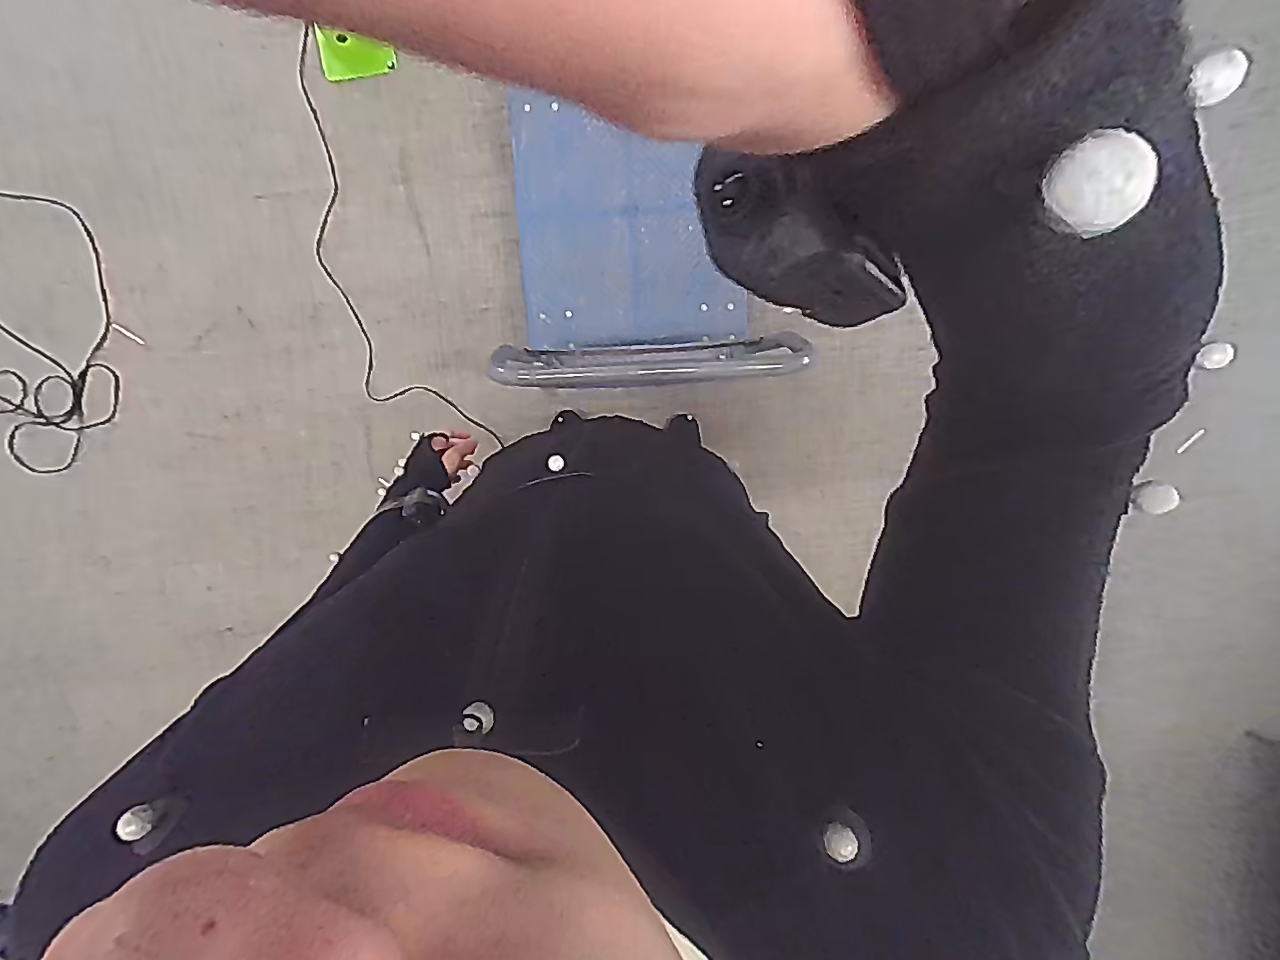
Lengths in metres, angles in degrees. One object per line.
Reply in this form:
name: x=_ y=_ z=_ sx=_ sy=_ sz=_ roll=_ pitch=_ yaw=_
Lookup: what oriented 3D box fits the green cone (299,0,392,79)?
green cone: x=-0.785 y=-1.180 z=1.287 sx=0.202 sy=0.368 sz=0.200 roll=-9 pitch=98 yaw=3
